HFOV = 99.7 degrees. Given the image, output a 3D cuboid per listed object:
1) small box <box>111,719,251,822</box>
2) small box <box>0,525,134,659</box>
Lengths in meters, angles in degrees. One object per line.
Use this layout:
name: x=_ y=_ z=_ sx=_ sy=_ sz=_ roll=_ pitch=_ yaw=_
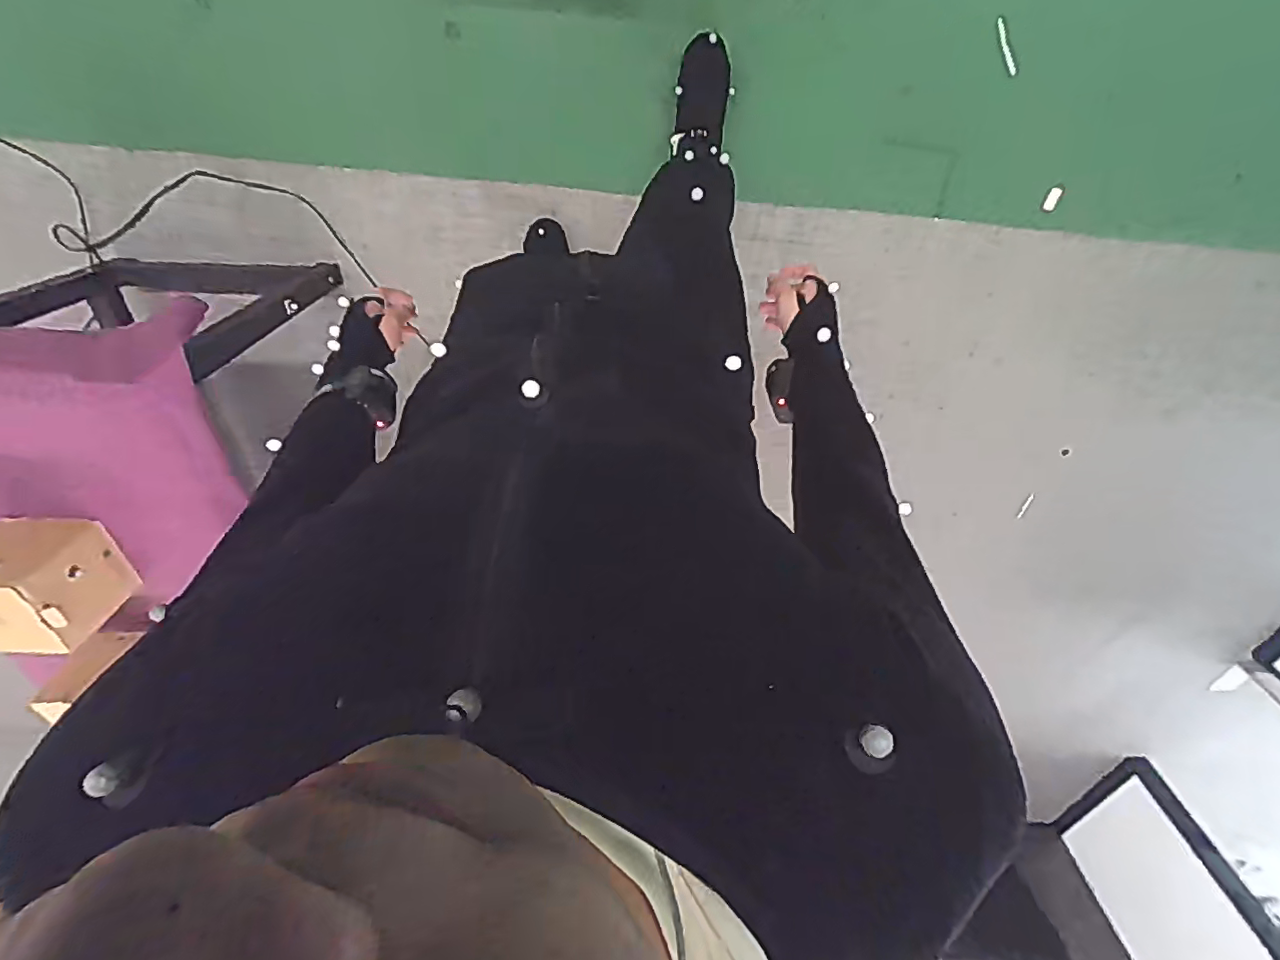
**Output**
small box: x=-1.082 y=0.694 z=1.300 sx=0.179 sy=0.176 sz=0.168 roll=1 pitch=124 yaw=-2
small box: x=-1.055 y=0.193 z=0.950 sx=0.179 sy=0.176 sz=0.168 roll=2 pitch=125 yaw=-2
